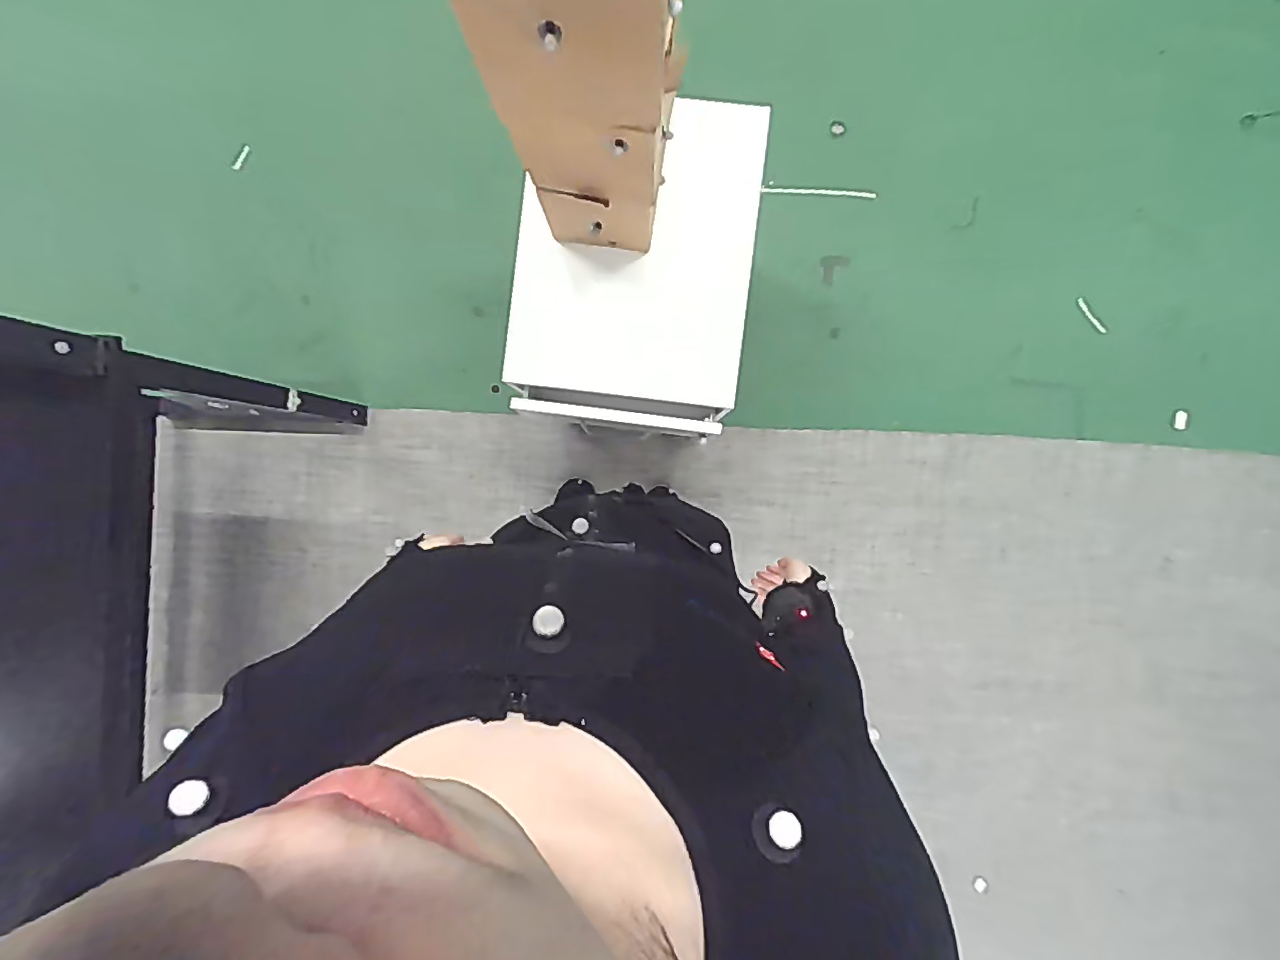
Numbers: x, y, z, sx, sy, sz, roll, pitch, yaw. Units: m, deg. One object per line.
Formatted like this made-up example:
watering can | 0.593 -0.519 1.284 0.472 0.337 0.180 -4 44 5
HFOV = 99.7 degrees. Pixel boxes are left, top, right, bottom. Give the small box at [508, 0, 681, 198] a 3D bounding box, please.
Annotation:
small box | -0.054 -0.469 0.650 0.179 0.176 0.168 10 91 0

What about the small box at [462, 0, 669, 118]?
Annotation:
small box | -0.061 -0.461 0.486 0.179 0.176 0.168 3 92 0

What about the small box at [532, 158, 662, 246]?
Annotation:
small box | -0.055 -0.476 0.813 0.168 0.176 0.179 8 92 0
